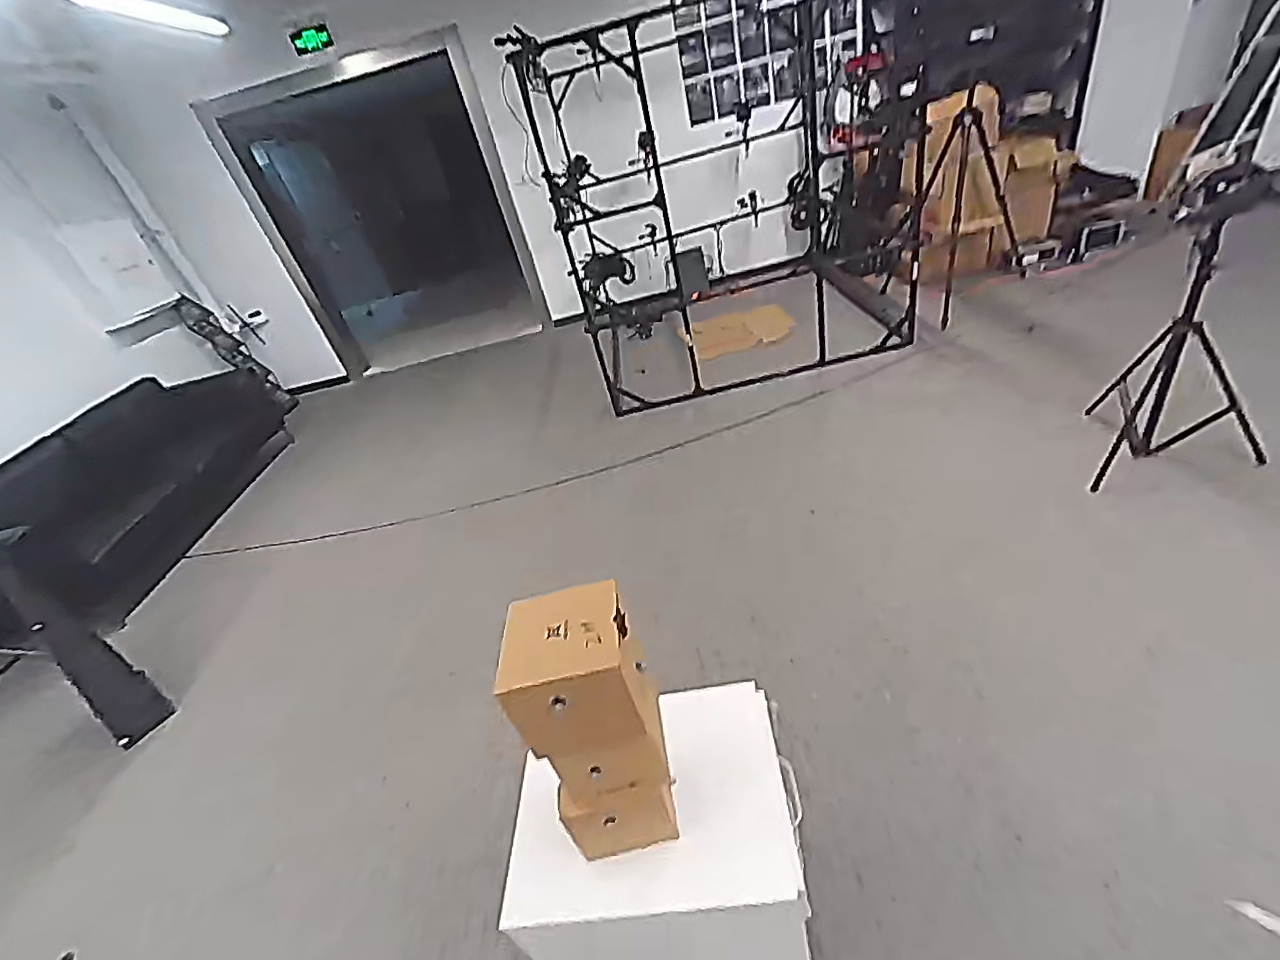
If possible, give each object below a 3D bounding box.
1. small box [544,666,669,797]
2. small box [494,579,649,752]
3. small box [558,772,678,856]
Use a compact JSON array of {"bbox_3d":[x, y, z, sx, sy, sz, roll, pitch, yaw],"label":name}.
[{"bbox_3d":[-0.055,0.406,0.913,0.168,0.176,0.179,-15,32,2],"label":"small box"},{"bbox_3d":[-0.094,0.280,0.812,0.179,0.176,0.168,-13,33,4],"label":"small box"},{"bbox_3d":[-0.041,0.551,0.990,0.179,0.176,0.168,-15,33,1],"label":"small box"}]
